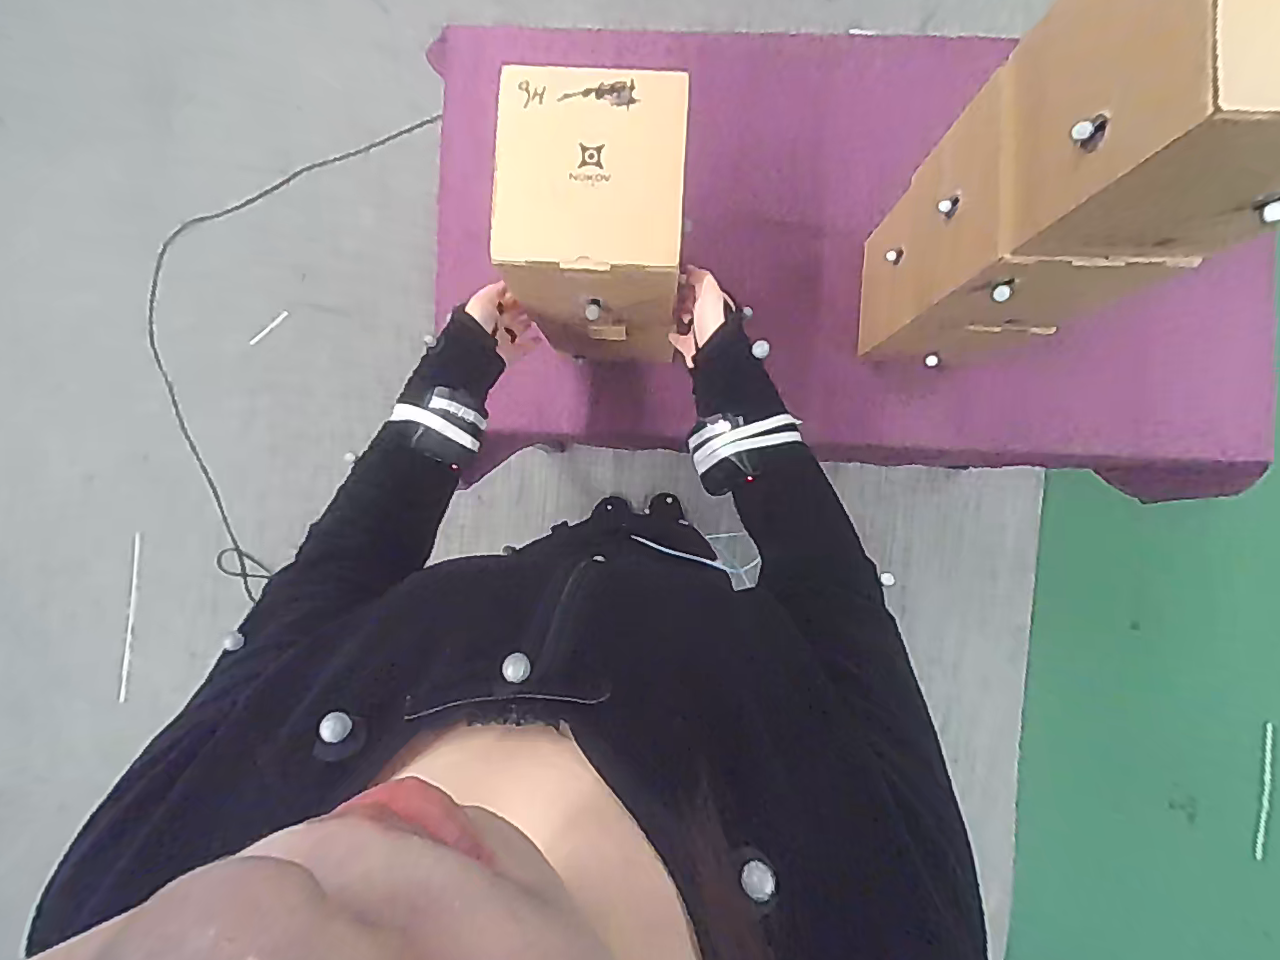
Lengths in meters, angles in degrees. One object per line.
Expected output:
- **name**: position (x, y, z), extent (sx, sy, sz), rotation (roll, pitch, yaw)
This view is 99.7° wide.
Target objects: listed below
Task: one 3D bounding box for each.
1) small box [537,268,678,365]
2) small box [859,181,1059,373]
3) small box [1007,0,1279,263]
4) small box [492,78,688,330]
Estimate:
- **small box**: position (-0.035, -0.255, 0.713), extent (0.168, 0.176, 0.179), rotation (2, 88, 1)
- **small box**: position (0.399, -0.250, 0.700), extent (0.168, 0.176, 0.179), rotation (5, 89, 2)
- **small box**: position (0.388, -0.268, 0.373), extent (0.168, 0.176, 0.179), rotation (2, 88, 1)
- **small box**: position (-0.042, -0.260, 0.549), extent (0.168, 0.176, 0.179), rotation (3, 90, 1)
